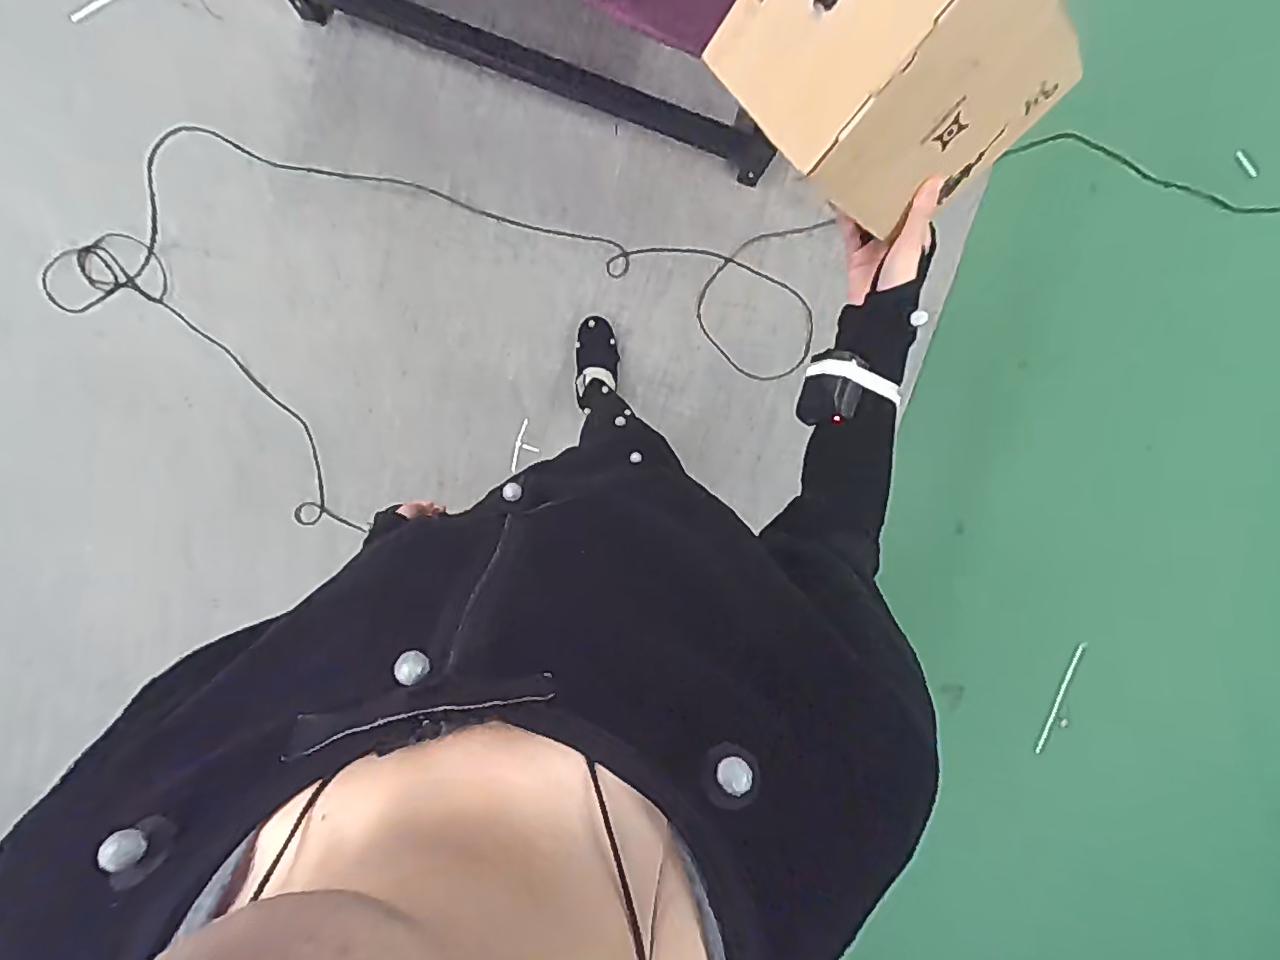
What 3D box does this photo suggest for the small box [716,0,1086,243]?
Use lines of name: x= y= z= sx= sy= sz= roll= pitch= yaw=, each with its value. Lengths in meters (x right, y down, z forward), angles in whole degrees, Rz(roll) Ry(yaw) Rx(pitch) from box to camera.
small box: x=0.191 y=-0.330 z=0.421 sx=0.168 sy=0.179 sz=0.176 roll=-44 pitch=59 yaw=36
